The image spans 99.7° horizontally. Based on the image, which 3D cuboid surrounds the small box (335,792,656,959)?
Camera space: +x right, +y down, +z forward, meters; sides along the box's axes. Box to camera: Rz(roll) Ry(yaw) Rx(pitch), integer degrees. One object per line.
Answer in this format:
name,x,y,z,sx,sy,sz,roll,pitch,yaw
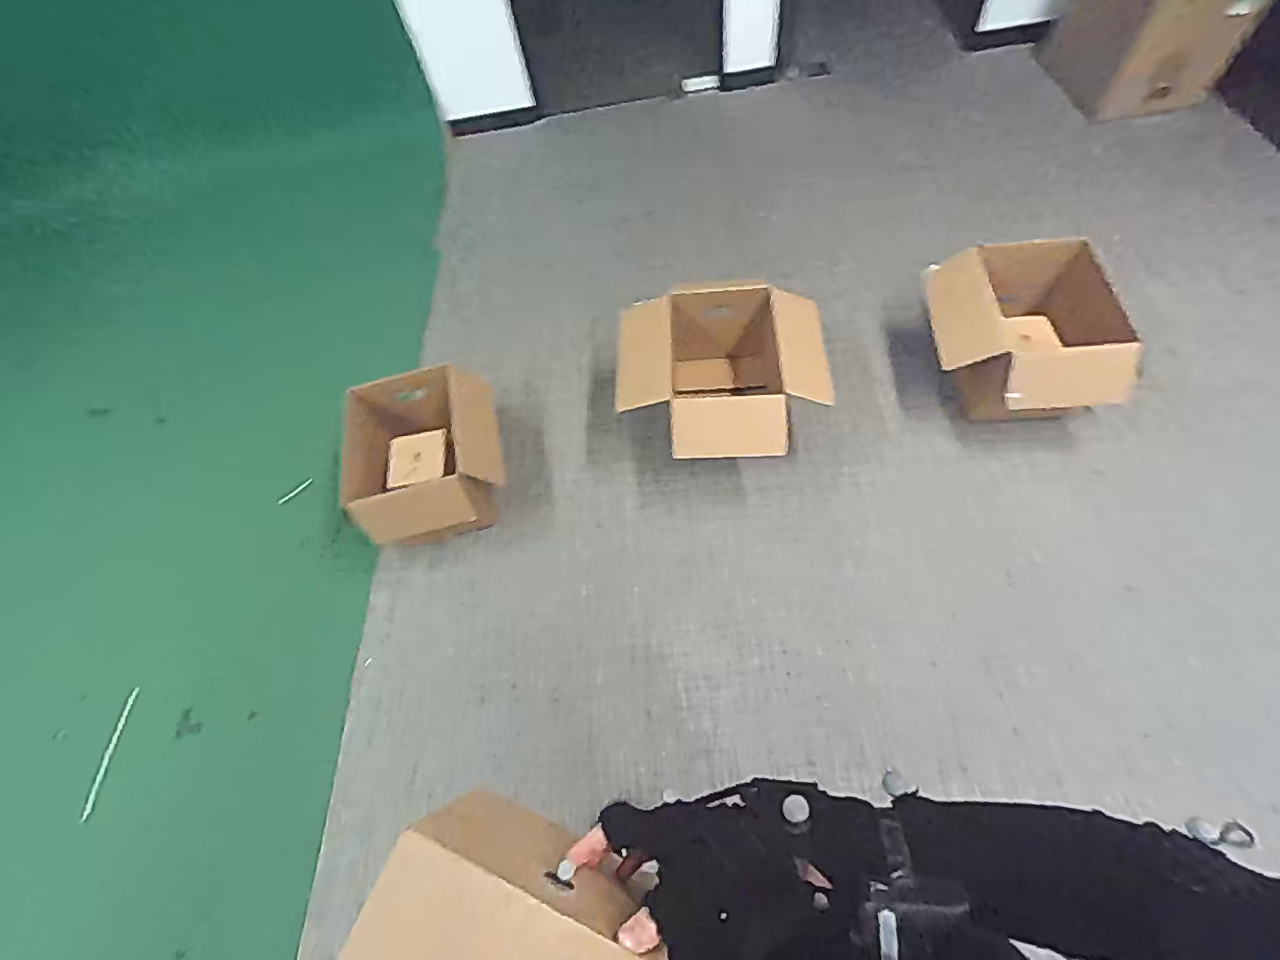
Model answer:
small box,-0.096,0.338,0.363,0.179,0.176,0.168,24,69,10
